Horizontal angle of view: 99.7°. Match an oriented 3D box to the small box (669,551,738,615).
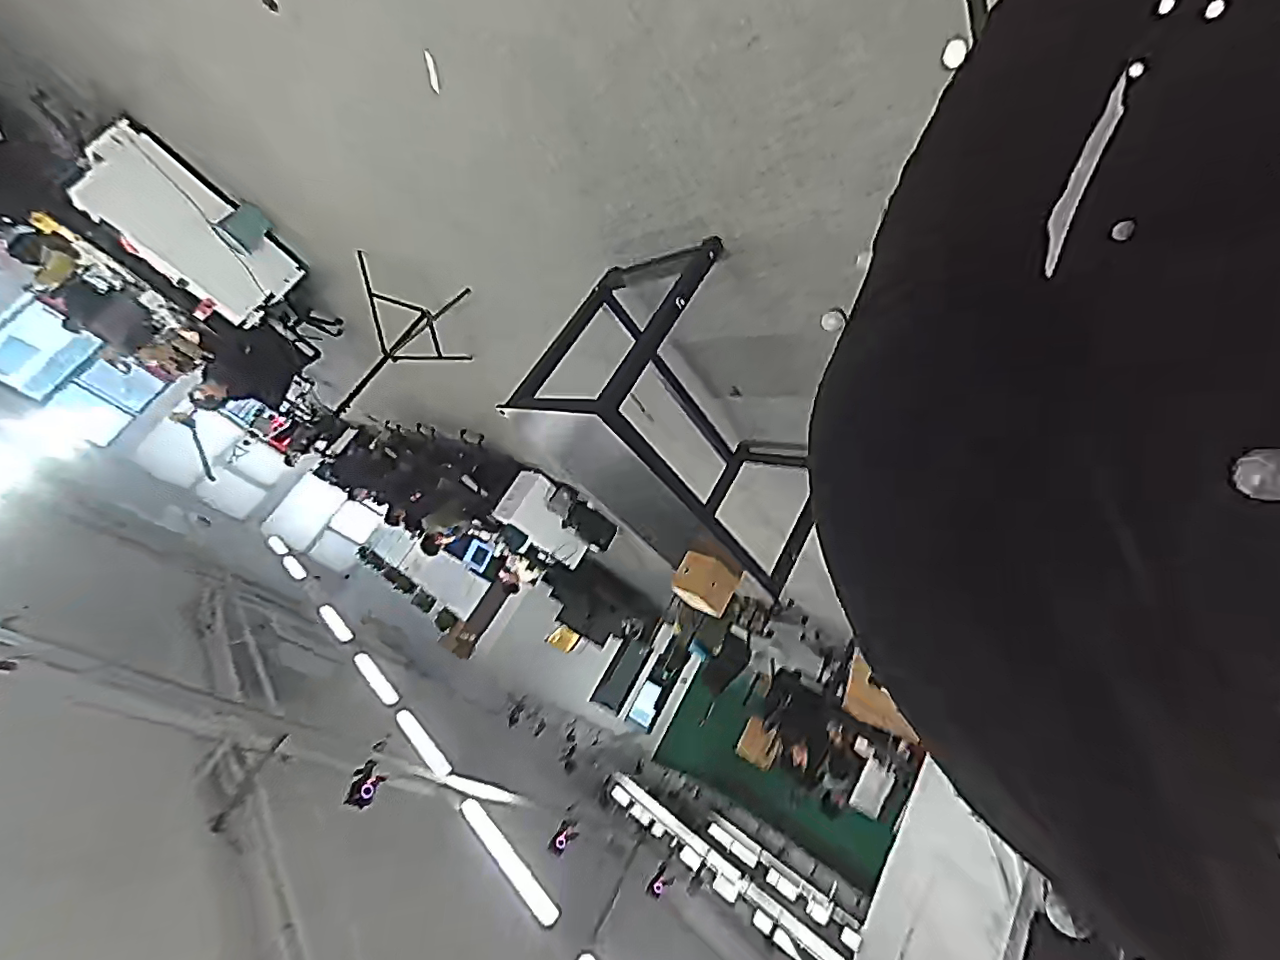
[{"bbox_3d":[0.255,0.403,2.145,0.168,0.176,0.179,11,153,51],"label":"small box"}]
